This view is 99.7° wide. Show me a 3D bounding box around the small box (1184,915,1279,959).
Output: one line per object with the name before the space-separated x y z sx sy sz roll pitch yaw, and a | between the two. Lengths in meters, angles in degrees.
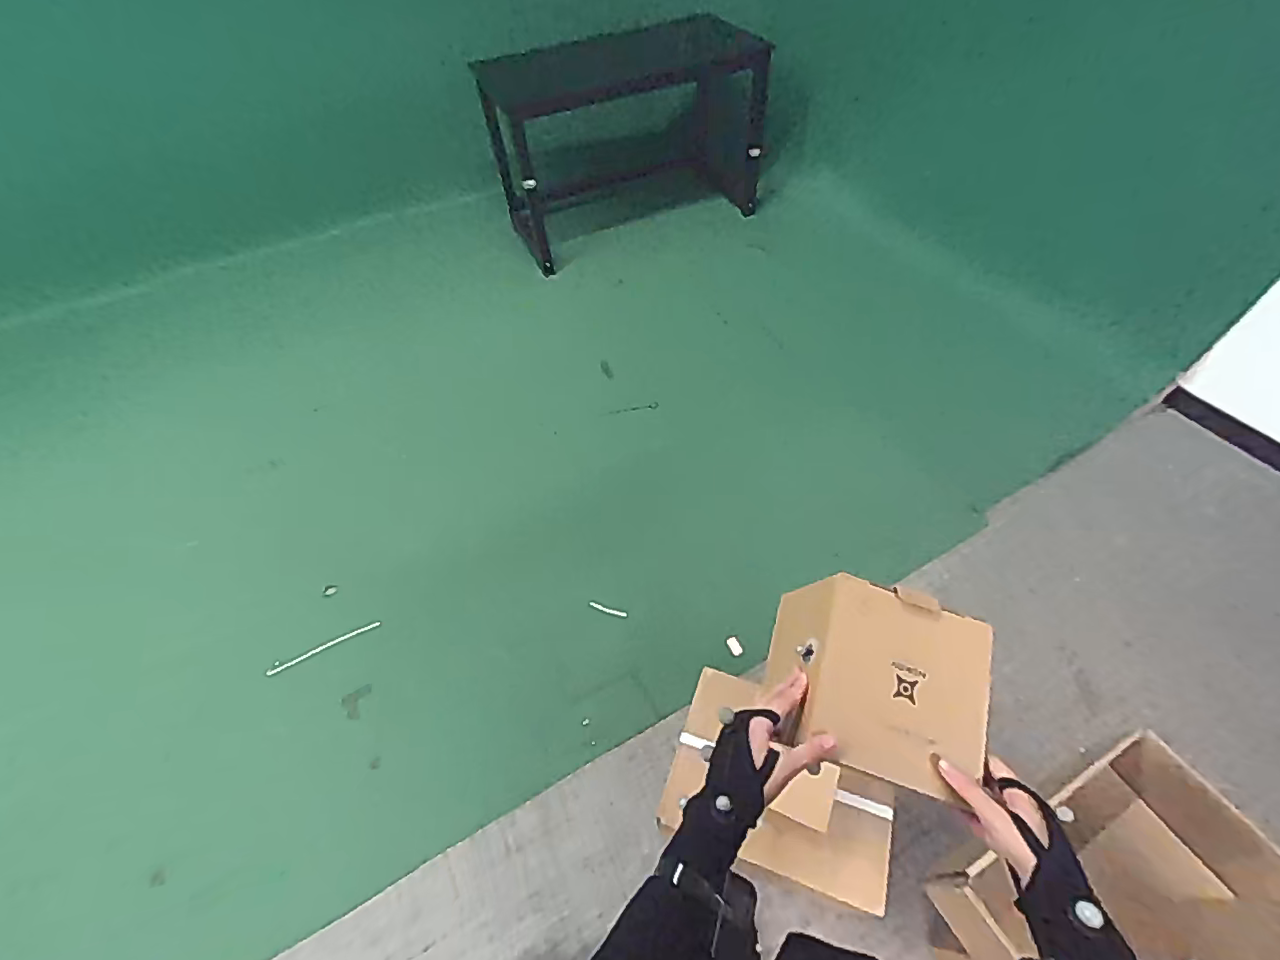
small box | 0.704 0.571 0.538 0.179 0.176 0.168 25 58 23

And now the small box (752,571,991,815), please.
small box | 0.236 0.220 0.580 0.168 0.176 0.179 20 69 1

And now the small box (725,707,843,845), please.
small box | 0.254 0.512 0.958 0.168 0.176 0.179 18 56 18
